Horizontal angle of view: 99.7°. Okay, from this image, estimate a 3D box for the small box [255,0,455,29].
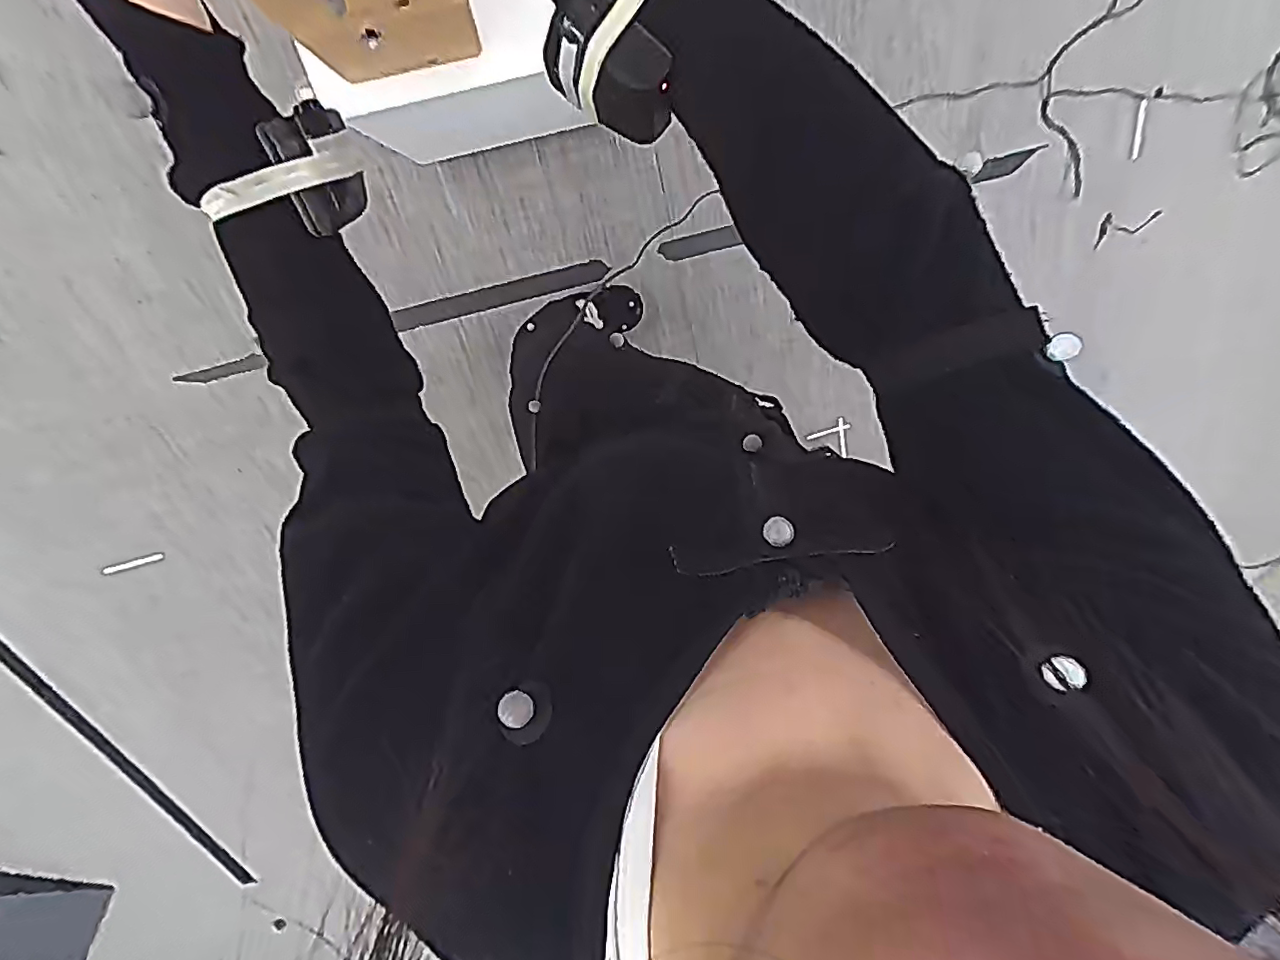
[{"bbox_3d":[-0.237,-0.461,0.386,0.168,0.176,0.179,-17,116,-3],"label":"small box"}]

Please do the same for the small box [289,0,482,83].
[{"bbox_3d":[-0.267,-0.530,0.531,0.168,0.176,0.179,-16,116,-4],"label":"small box"}]
